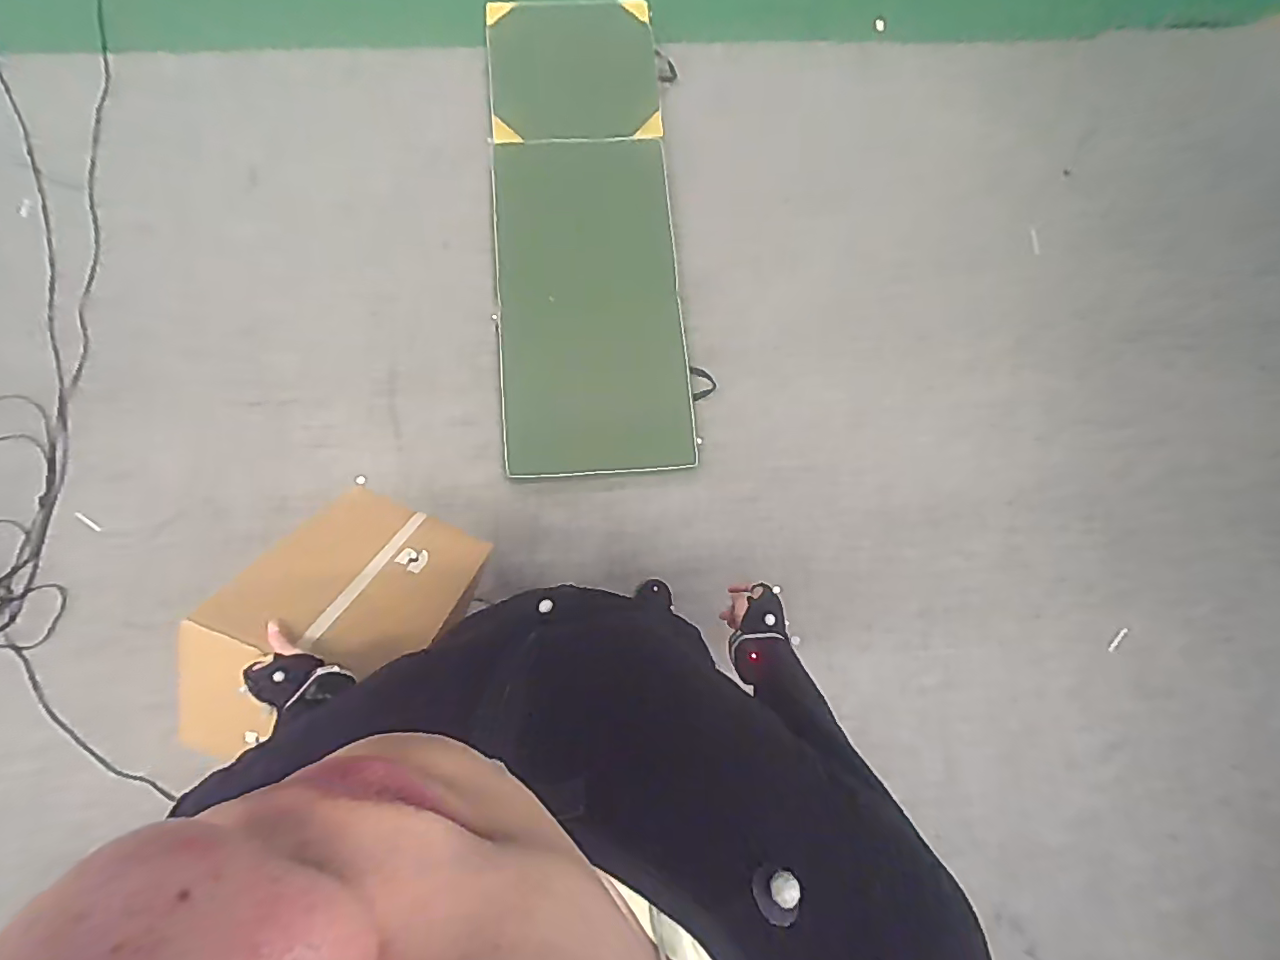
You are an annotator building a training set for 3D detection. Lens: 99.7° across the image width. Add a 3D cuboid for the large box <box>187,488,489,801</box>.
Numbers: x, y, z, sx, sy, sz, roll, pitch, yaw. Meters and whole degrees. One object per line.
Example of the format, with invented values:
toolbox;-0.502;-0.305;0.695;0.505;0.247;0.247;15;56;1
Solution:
large box;-0.533;0.285;1.008;0.320;0.408;0.320;26;117;-5
